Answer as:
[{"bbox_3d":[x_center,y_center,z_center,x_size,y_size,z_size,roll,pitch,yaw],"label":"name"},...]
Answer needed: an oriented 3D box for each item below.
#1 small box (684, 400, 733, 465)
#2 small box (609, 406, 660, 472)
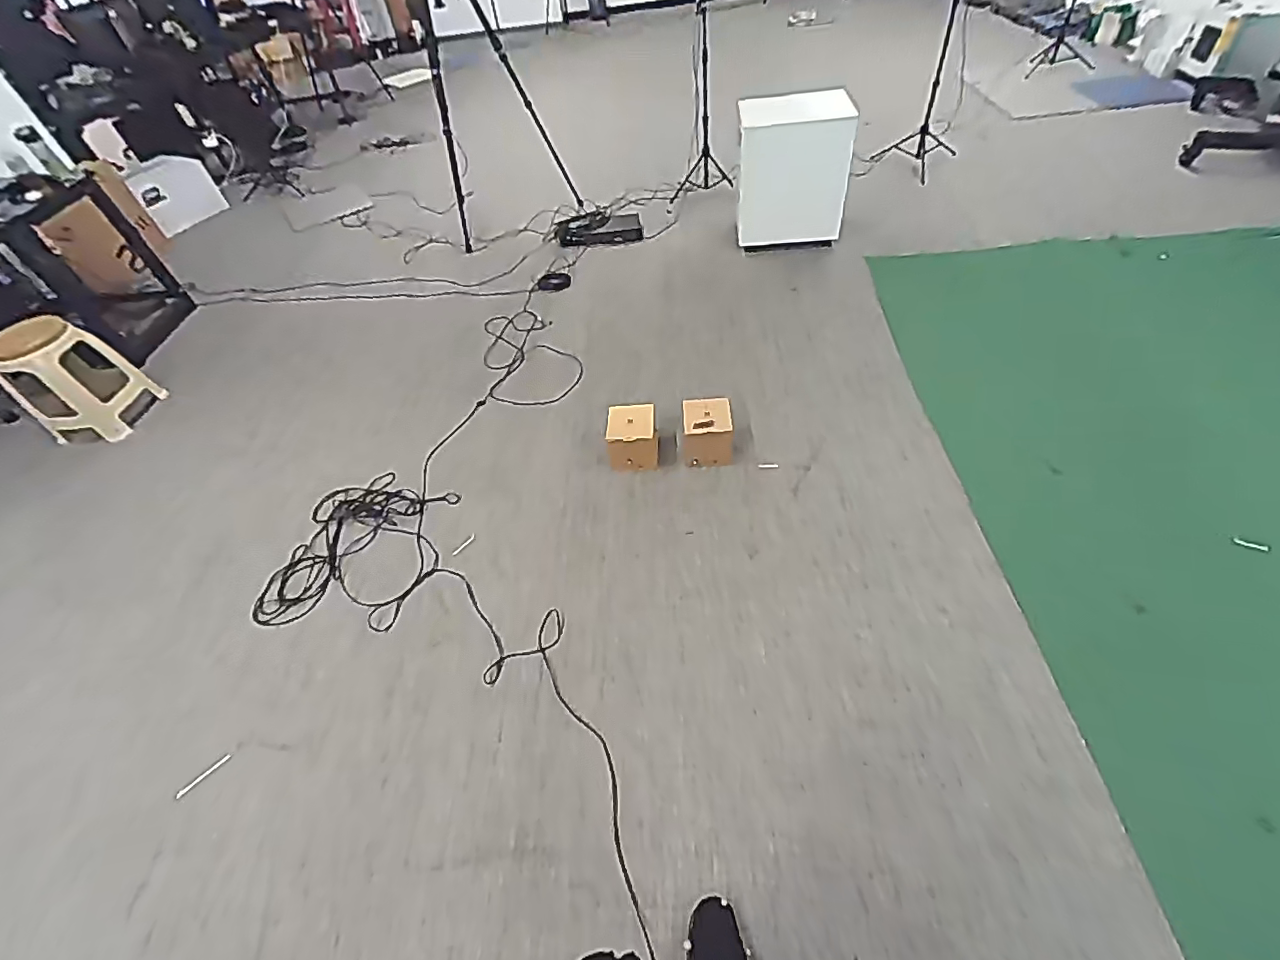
[{"bbox_3d":[0.249,-0.167,1.956,0.168,0.176,0.179,-3,48,6],"label":"small box"},{"bbox_3d":[-0.015,-0.148,1.983,0.168,0.176,0.179,-3,49,6],"label":"small box"}]
